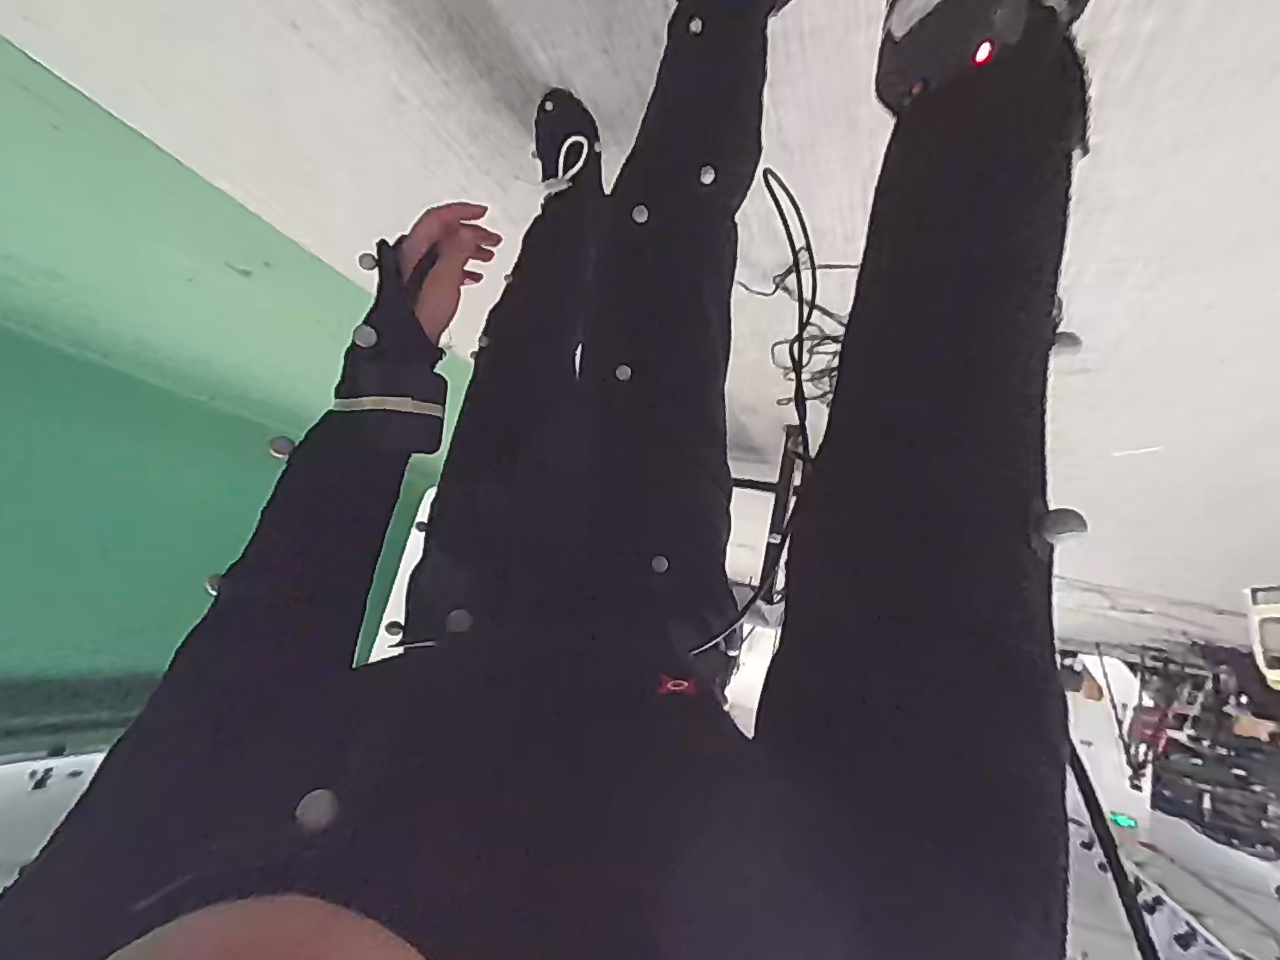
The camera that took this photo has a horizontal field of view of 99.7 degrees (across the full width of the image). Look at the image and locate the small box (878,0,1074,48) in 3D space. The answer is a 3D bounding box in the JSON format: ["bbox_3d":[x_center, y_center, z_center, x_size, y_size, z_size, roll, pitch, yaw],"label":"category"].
[{"bbox_3d":[0.250,-0.437,0.337,0.168,0.179,0.176,16,177,-2],"label":"small box"}]
